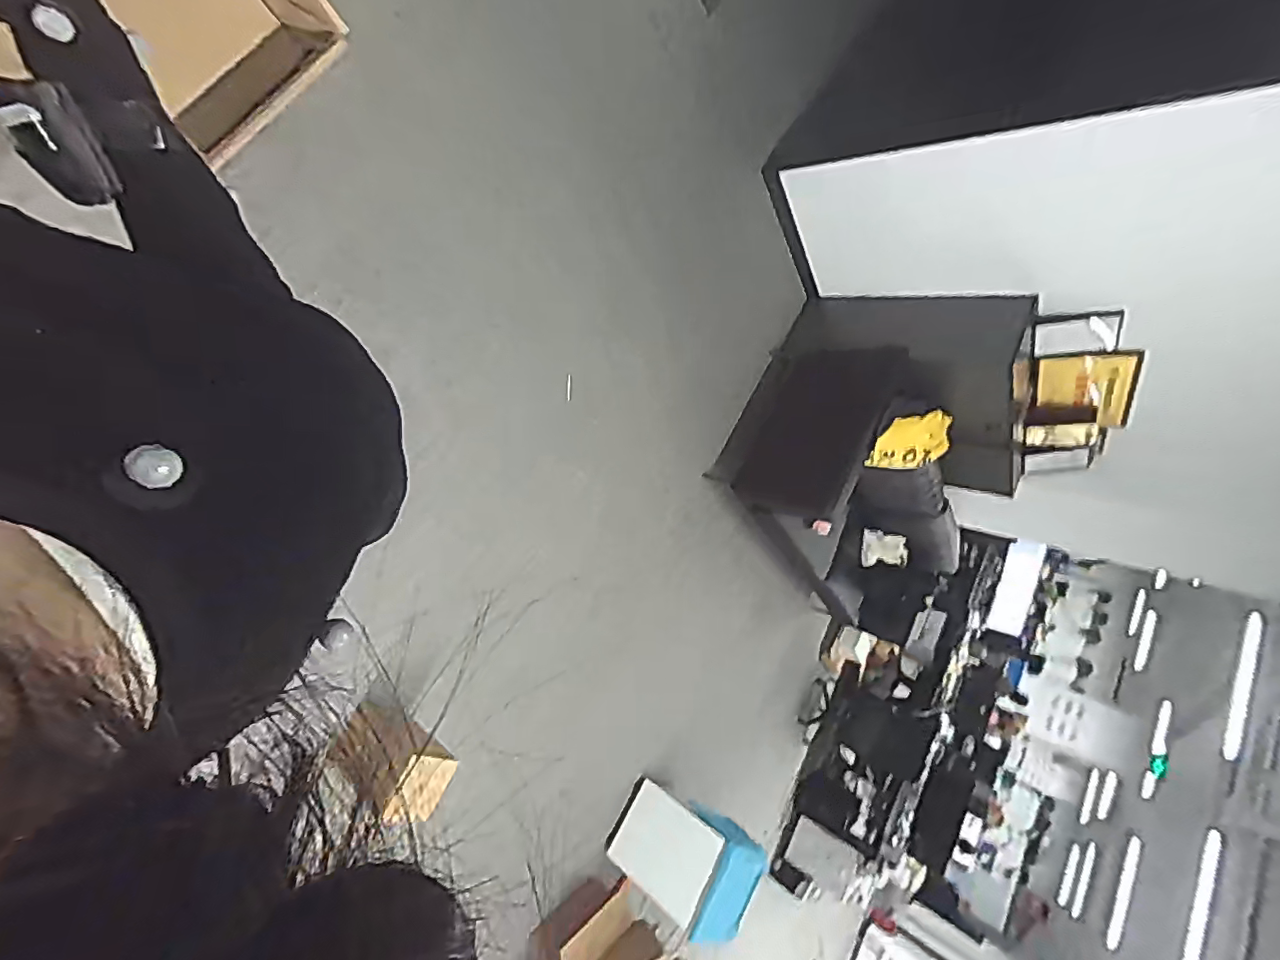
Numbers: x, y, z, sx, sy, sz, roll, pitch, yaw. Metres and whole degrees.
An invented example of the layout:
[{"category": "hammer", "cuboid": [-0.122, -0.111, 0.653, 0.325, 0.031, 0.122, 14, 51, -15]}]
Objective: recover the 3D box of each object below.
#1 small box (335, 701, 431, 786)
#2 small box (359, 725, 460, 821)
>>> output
[{"category": "small box", "cuboid": [-0.775, 0.791, 1.620, 0.168, 0.176, 0.179, 44, 69, -46]}, {"category": "small box", "cuboid": [-0.650, 0.817, 1.516, 0.168, 0.176, 0.179, 44, 69, -45]}]
